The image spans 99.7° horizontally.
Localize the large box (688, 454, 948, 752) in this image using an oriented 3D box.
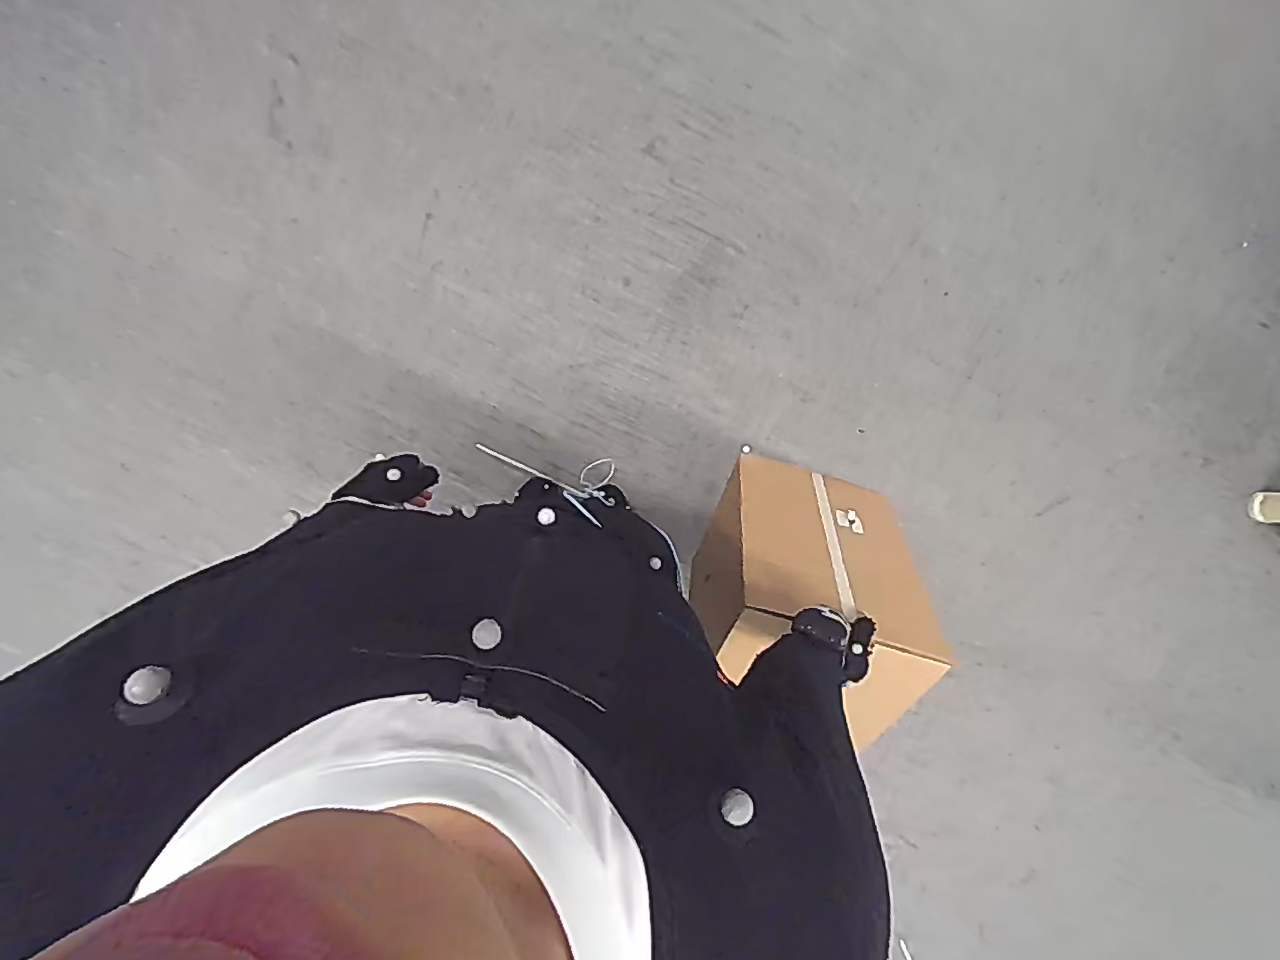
[{"bbox_3d":[0.286,0.217,1.013,0.320,0.408,0.320,17,126,-3],"label":"large box"}]
